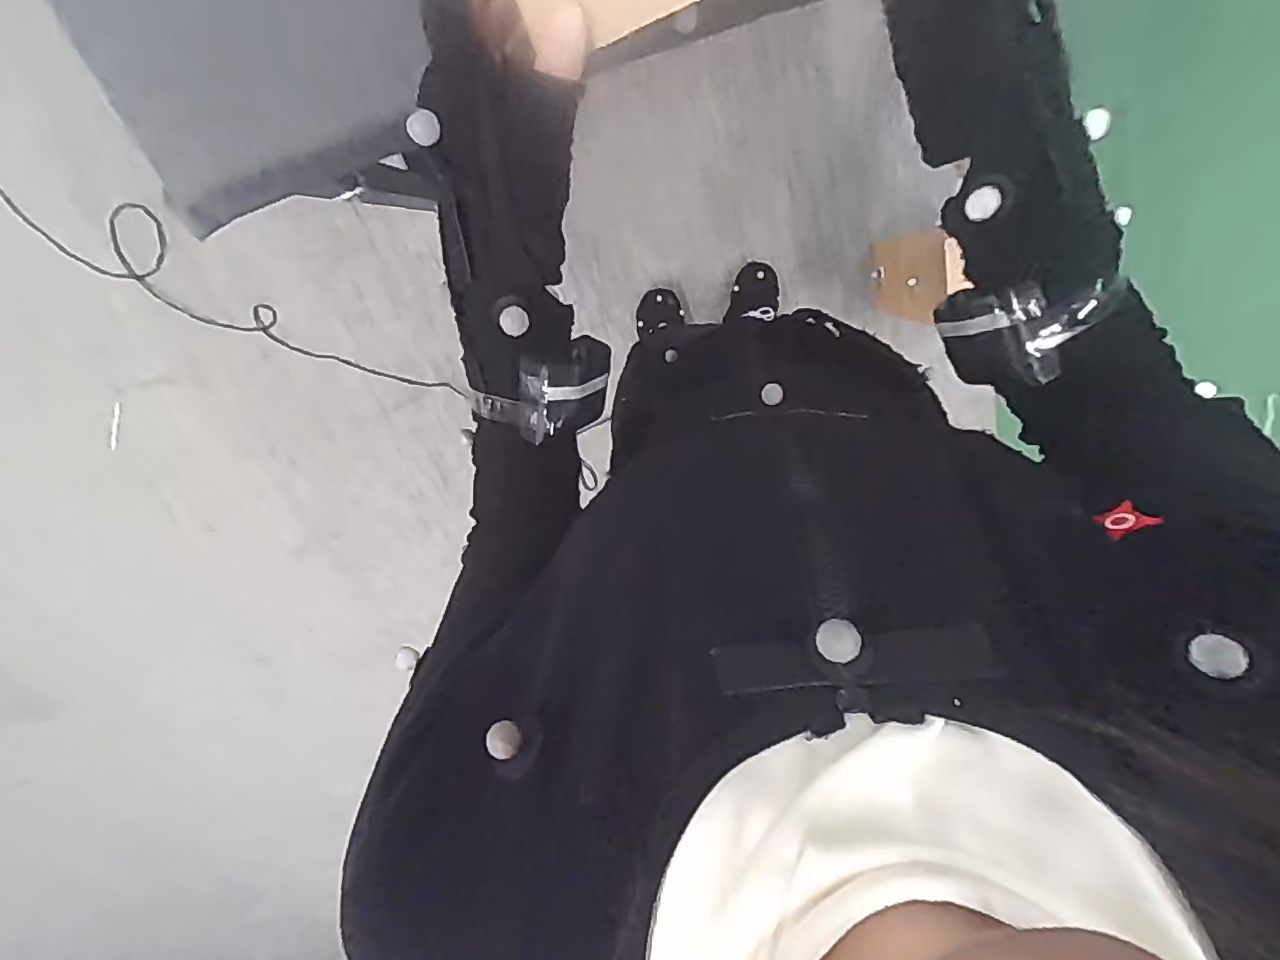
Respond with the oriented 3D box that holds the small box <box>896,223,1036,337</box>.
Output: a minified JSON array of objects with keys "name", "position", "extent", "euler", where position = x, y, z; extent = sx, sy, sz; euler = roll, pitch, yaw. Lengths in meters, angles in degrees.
[{"name":"small box","position":[0.624,-0.391,1.051],"extent":[0.179,0.176,0.168],"euler":[-12,112,7]}]
